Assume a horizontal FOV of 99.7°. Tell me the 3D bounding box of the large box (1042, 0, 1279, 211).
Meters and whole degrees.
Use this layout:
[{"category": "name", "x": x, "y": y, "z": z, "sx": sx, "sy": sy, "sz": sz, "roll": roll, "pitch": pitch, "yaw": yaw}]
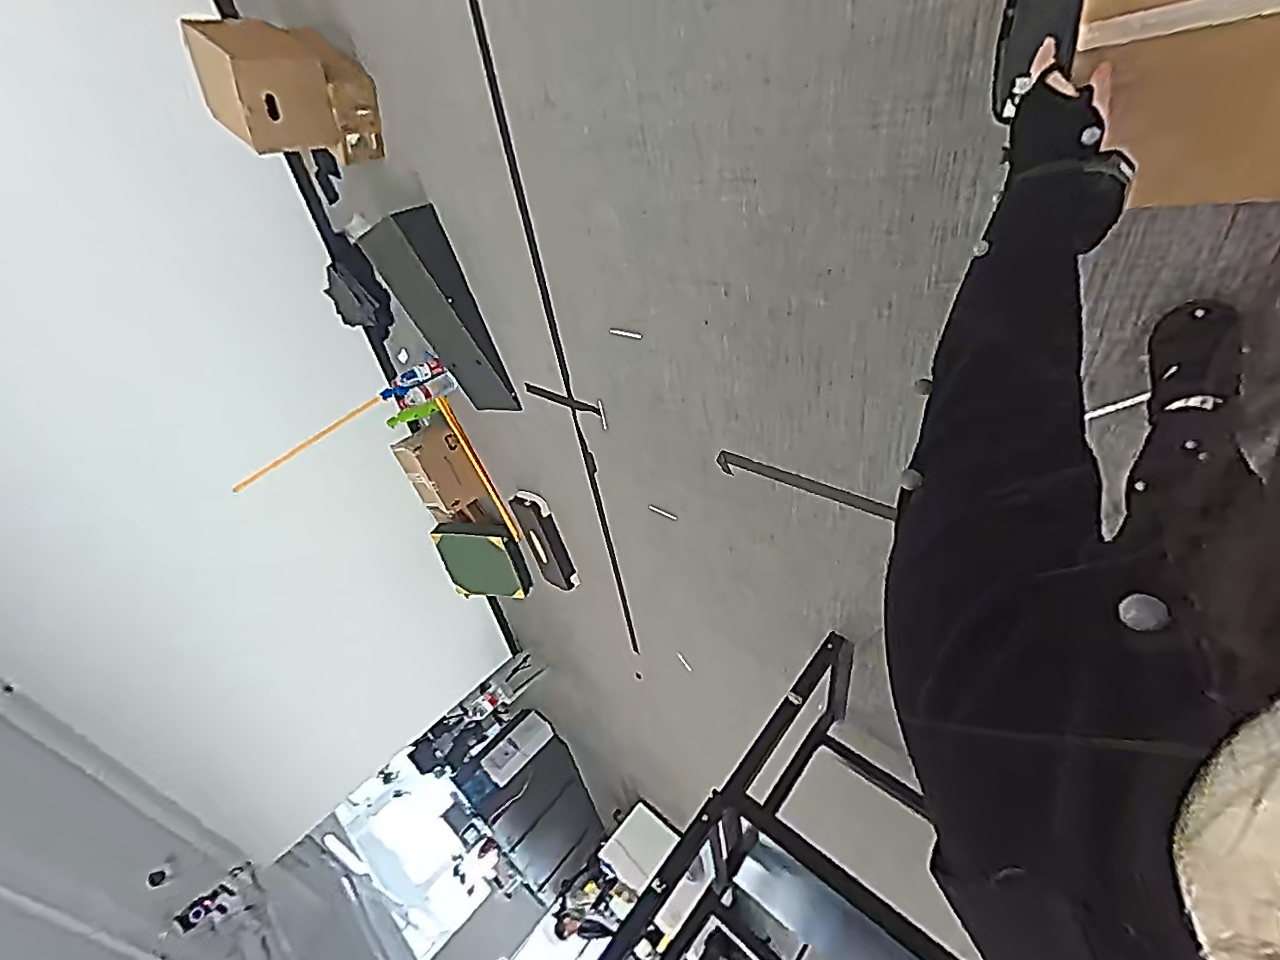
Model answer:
[{"category": "large box", "x": 0.666, "y": -0.450, "z": 0.476, "sx": 0.408, "sy": 0.320, "sz": 0.320, "roll": 22, "pitch": 135, "yaw": 40}]
